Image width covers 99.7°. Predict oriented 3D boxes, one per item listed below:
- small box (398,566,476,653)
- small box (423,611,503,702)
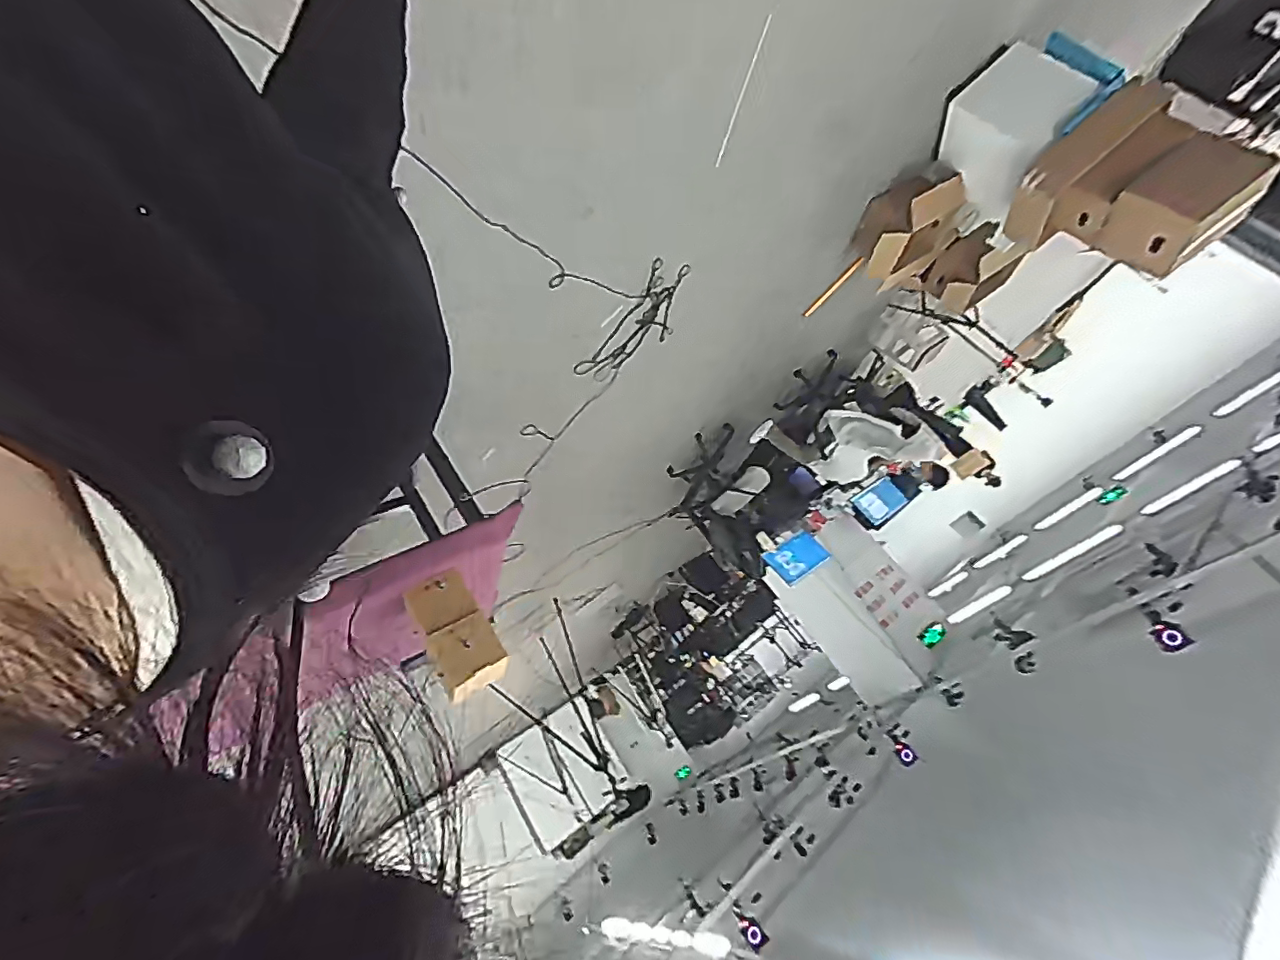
[{"bbox_3d":[-0.617,0.390,1.639,0.168,0.176,0.179,-24,155,-33],"label":"small box"},{"bbox_3d":[-0.519,0.504,1.573,0.168,0.176,0.179,-23,154,-34],"label":"small box"}]
